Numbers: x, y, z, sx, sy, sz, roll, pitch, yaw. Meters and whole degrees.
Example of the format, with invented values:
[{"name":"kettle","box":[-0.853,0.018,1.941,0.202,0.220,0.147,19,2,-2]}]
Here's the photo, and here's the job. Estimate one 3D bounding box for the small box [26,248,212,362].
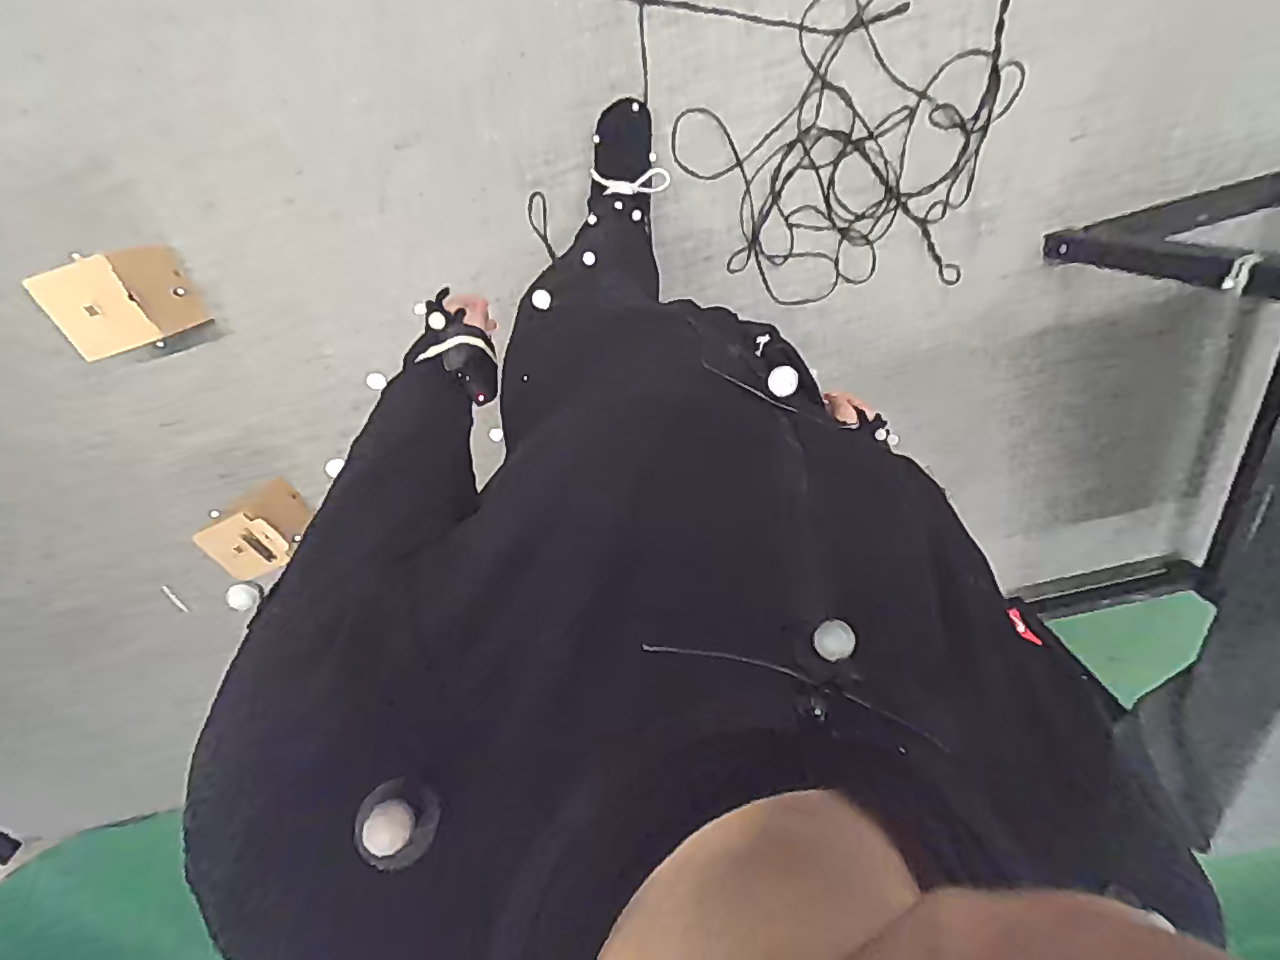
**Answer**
[{"name":"small box","box":[-1.045,-0.361,1.105,0.179,0.176,0.168,-16,119,5]}]
